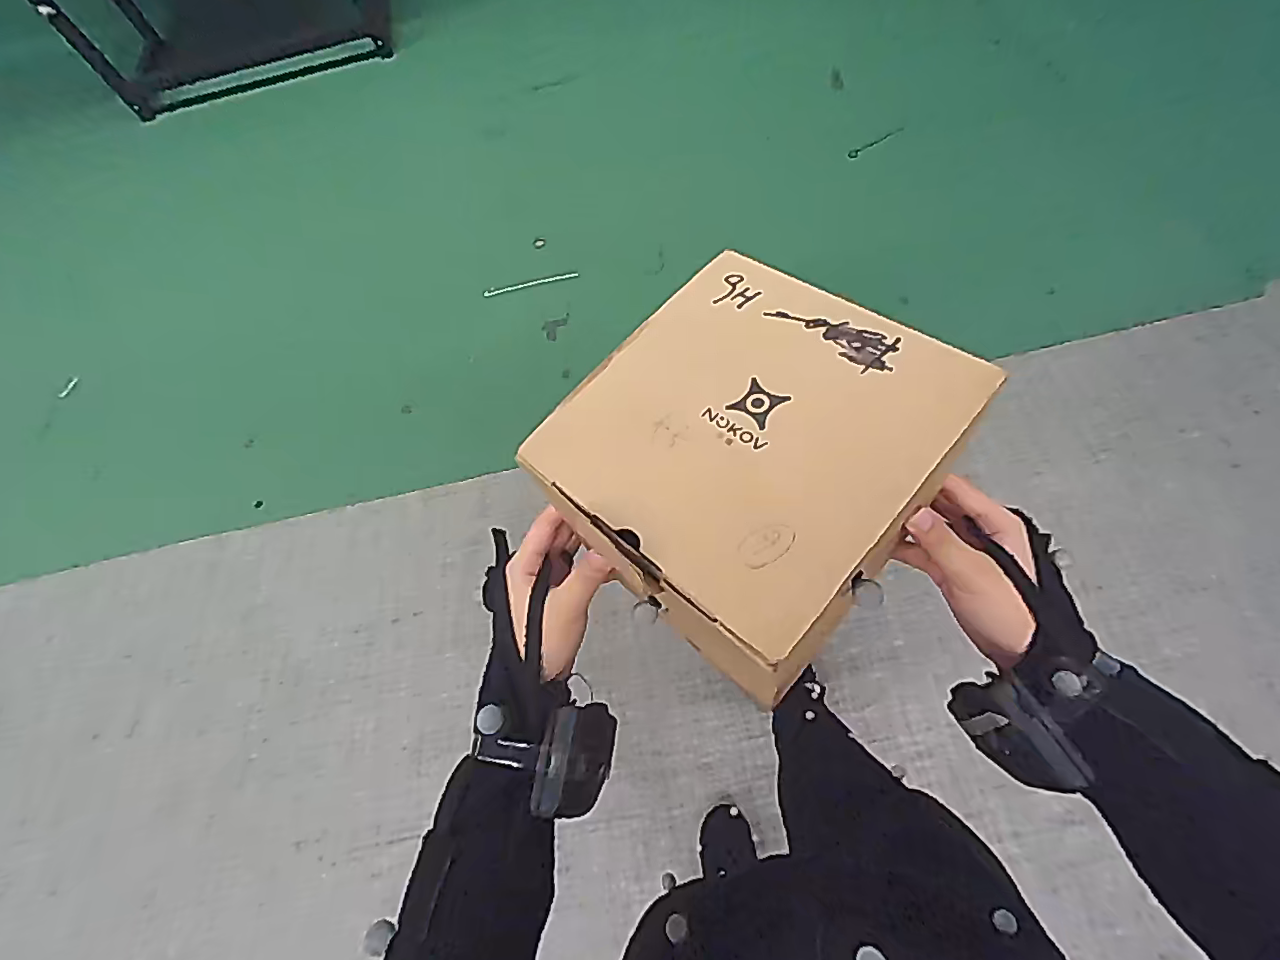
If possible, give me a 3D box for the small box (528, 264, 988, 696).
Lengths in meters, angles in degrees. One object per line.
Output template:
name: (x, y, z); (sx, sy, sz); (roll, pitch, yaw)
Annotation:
small box: (0.069, 0.009, 0.341); (0.168, 0.176, 0.179); (38, 75, 28)
